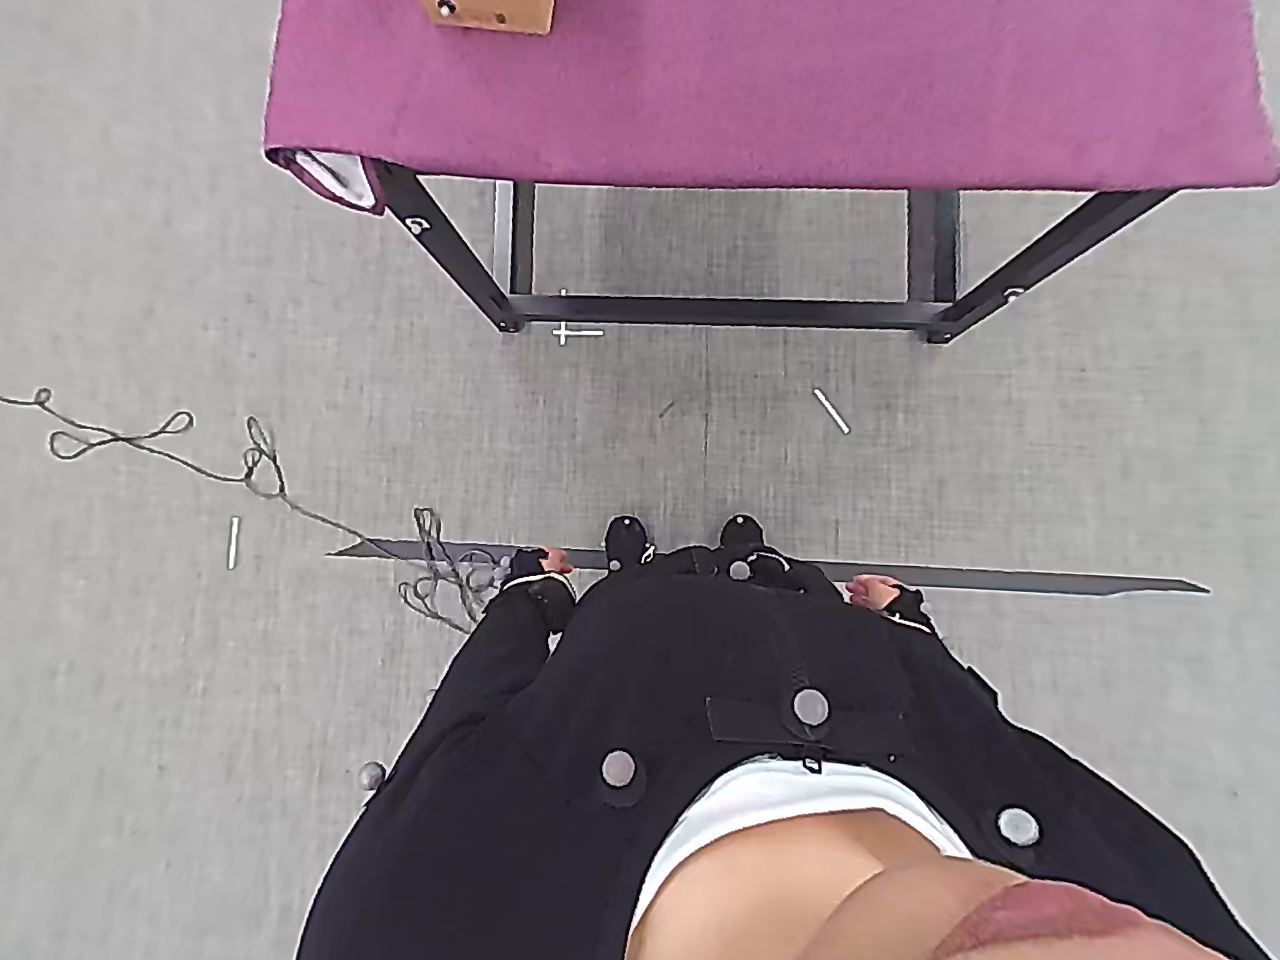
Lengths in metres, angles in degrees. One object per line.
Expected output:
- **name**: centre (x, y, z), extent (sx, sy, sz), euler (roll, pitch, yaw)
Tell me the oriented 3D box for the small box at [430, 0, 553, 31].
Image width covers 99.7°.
- **small box**: centre (-0.195, -0.706, 0.664), extent (0.168, 0.176, 0.179), euler (8, 86, 3)
